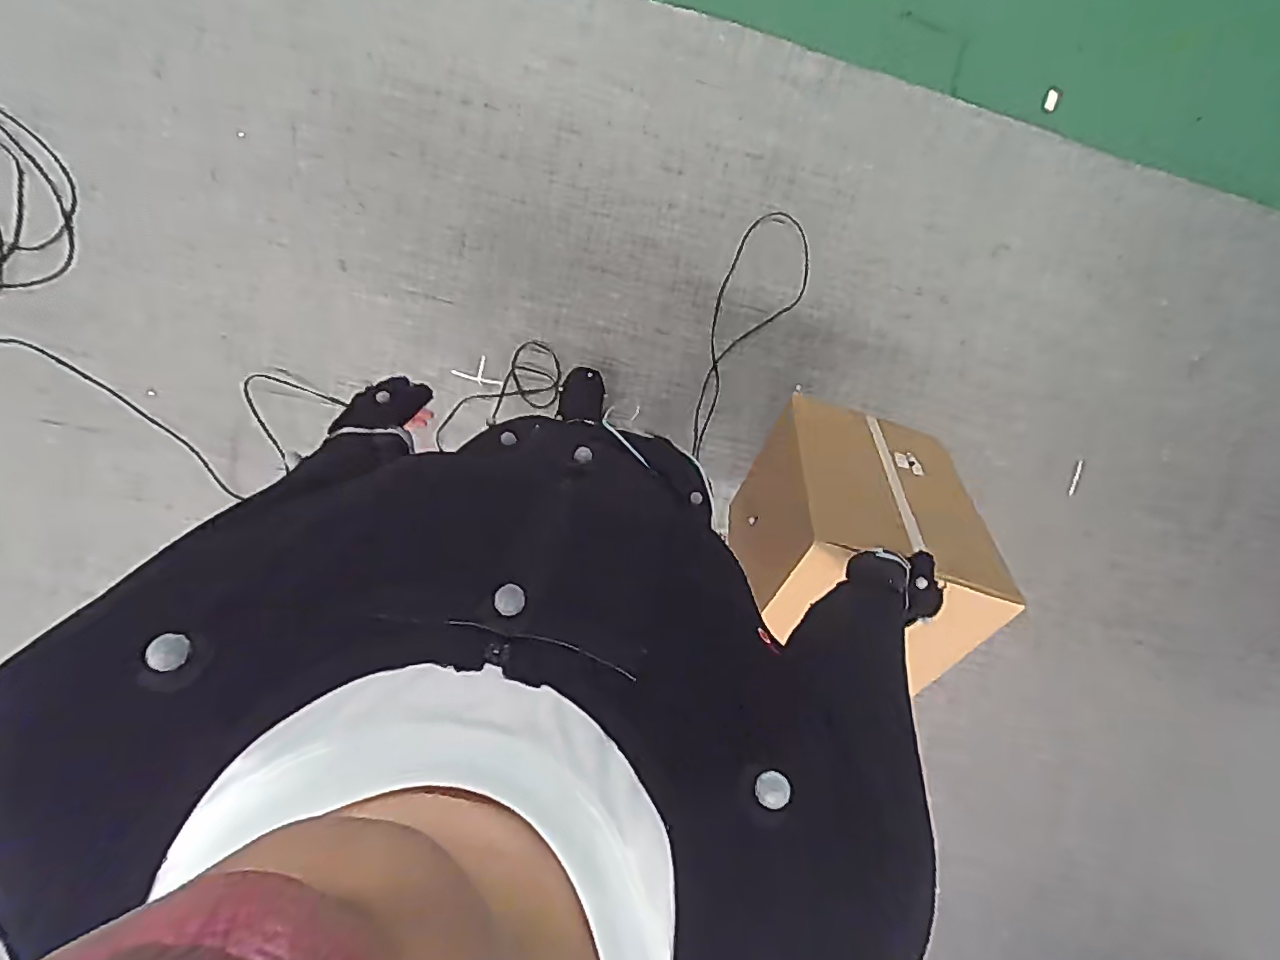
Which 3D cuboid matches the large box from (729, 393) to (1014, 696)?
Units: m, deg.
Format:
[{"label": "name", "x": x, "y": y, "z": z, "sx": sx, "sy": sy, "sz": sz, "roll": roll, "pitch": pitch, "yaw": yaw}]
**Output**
[{"label": "large box", "x": 0.360, "y": 0.108, "z": 0.982, "sx": 0.320, "sy": 0.408, "sz": 0.320, "roll": 18, "pitch": 128, "yaw": -5}]
